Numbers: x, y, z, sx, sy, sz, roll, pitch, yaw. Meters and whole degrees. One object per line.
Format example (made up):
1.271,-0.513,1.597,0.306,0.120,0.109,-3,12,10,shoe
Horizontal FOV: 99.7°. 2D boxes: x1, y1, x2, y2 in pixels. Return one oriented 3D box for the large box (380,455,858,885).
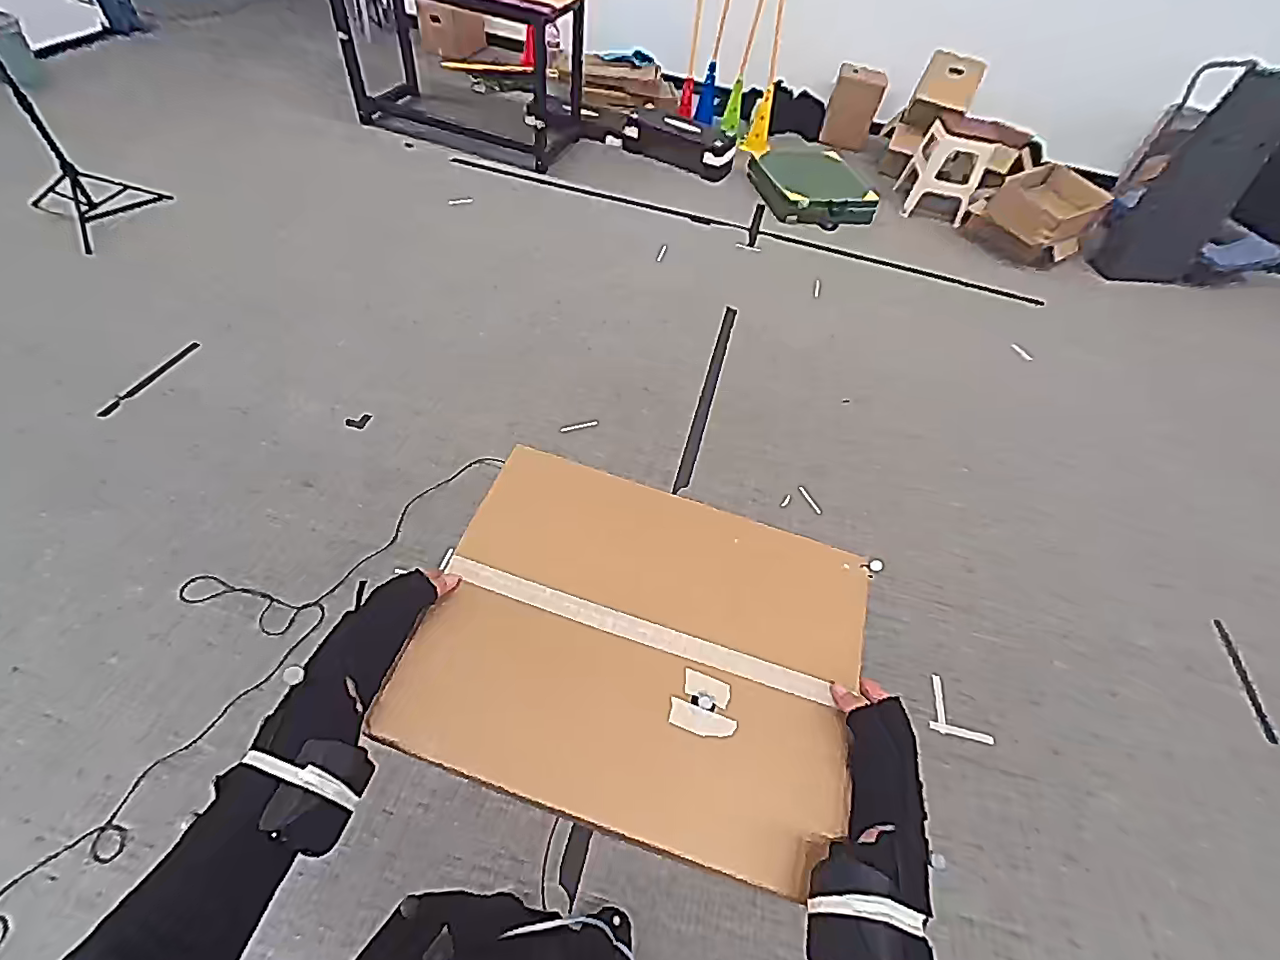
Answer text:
-0.010,0.226,0.647,0.408,0.320,0.320,18,58,3,large box
